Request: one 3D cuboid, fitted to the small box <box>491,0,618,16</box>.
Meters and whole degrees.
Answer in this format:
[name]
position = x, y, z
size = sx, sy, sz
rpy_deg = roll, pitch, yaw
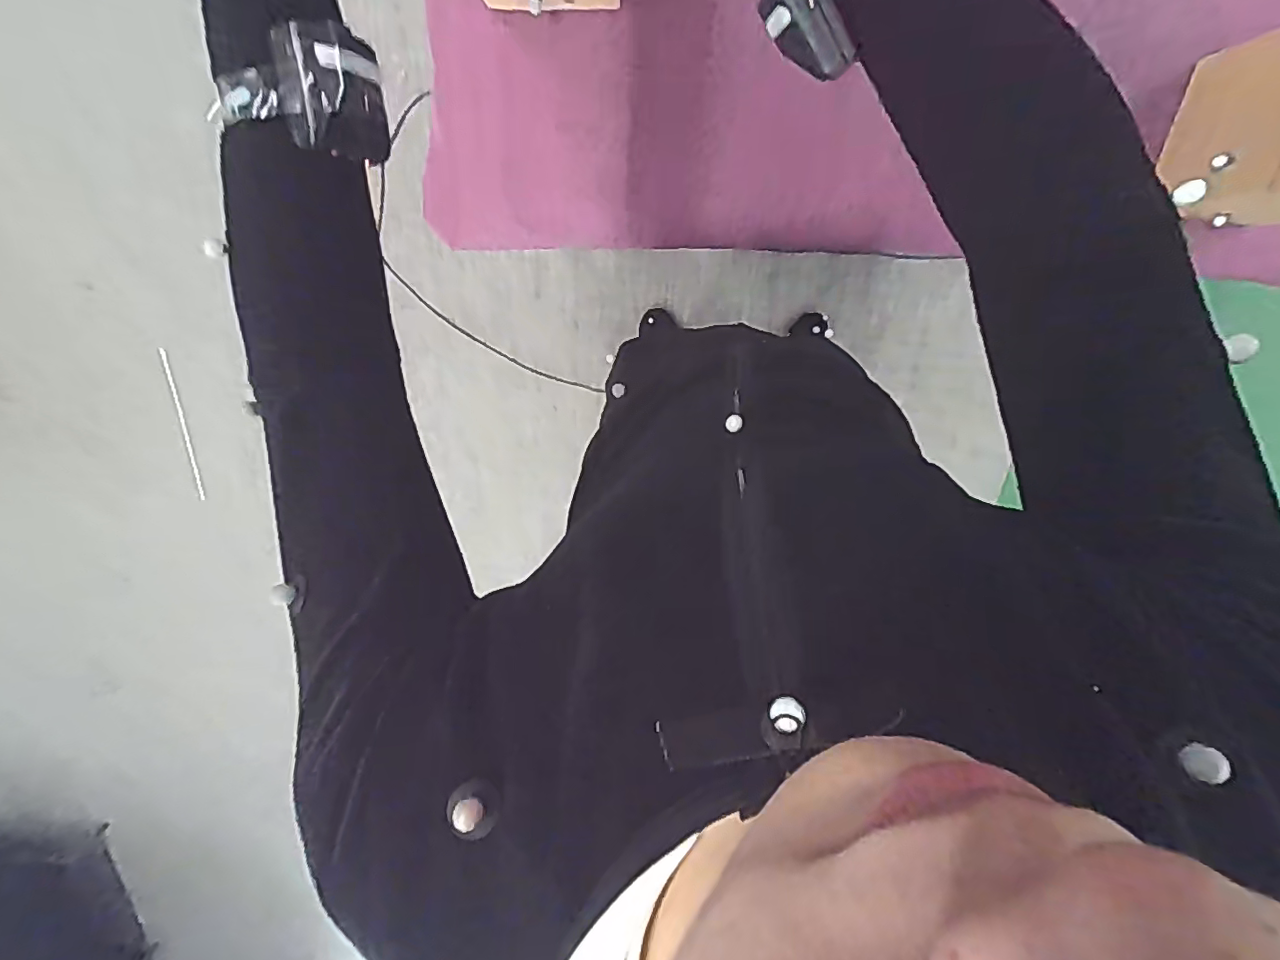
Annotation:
[small box]
position = -0.109, -0.636, 0.572
size = 0.168, 0.176, 0.179
rpy_deg = 0, 112, 1
